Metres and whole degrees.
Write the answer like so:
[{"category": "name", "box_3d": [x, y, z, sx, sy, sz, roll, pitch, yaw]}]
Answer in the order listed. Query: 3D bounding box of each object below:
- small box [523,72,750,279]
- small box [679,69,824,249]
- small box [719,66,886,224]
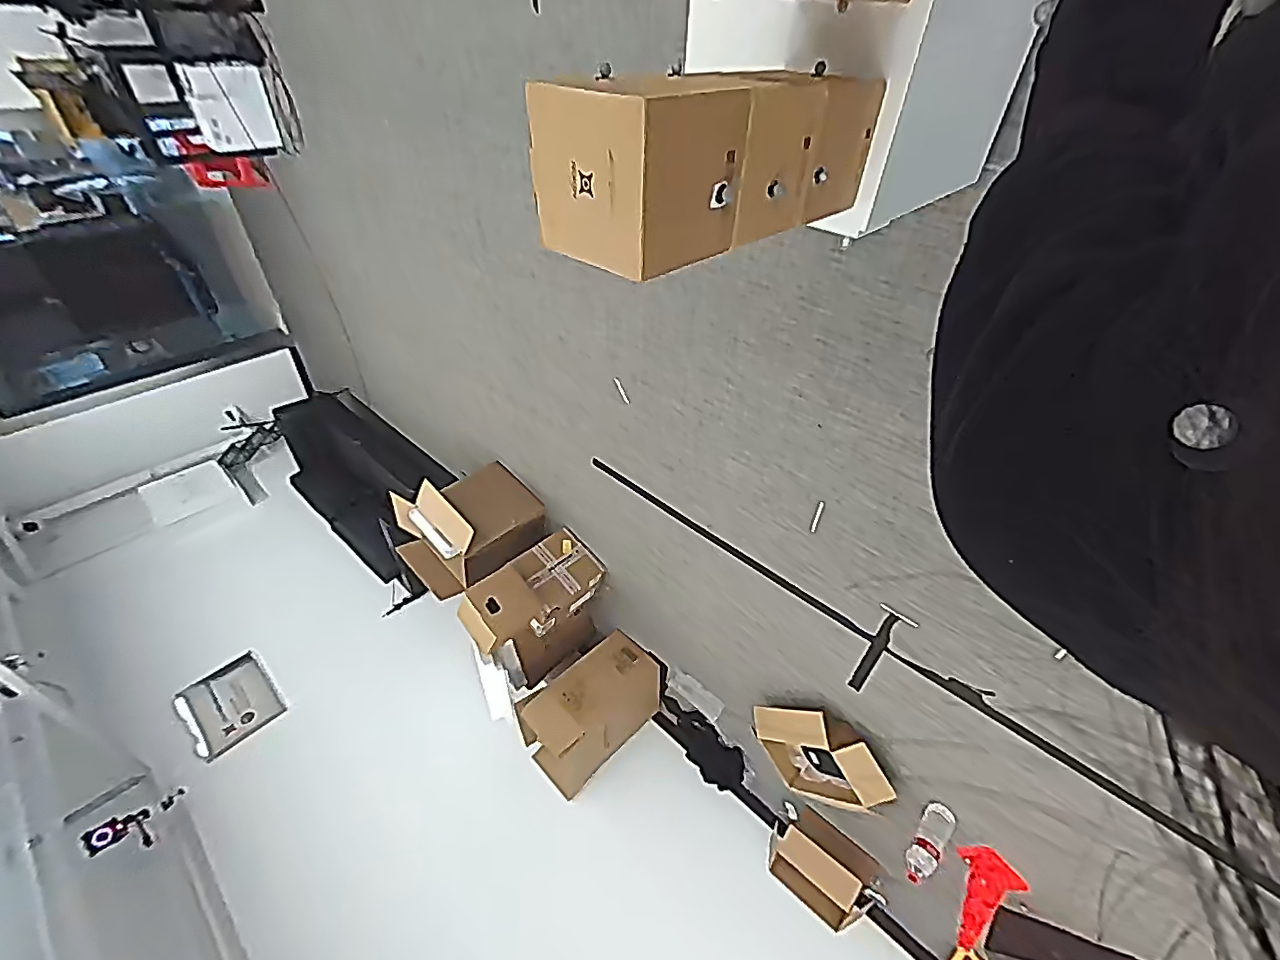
[{"category": "small box", "box_3d": [-0.004, -0.348, 0.607, 0.179, 0.176, 0.168, 32, 140, 31]}, {"category": "small box", "box_3d": [0.109, -0.421, 0.698, 0.179, 0.176, 0.168, 33, 139, 31]}, {"category": "small box", "box_3d": [0.220, -0.495, 0.790, 0.179, 0.176, 0.168, 35, 141, 31]}]
